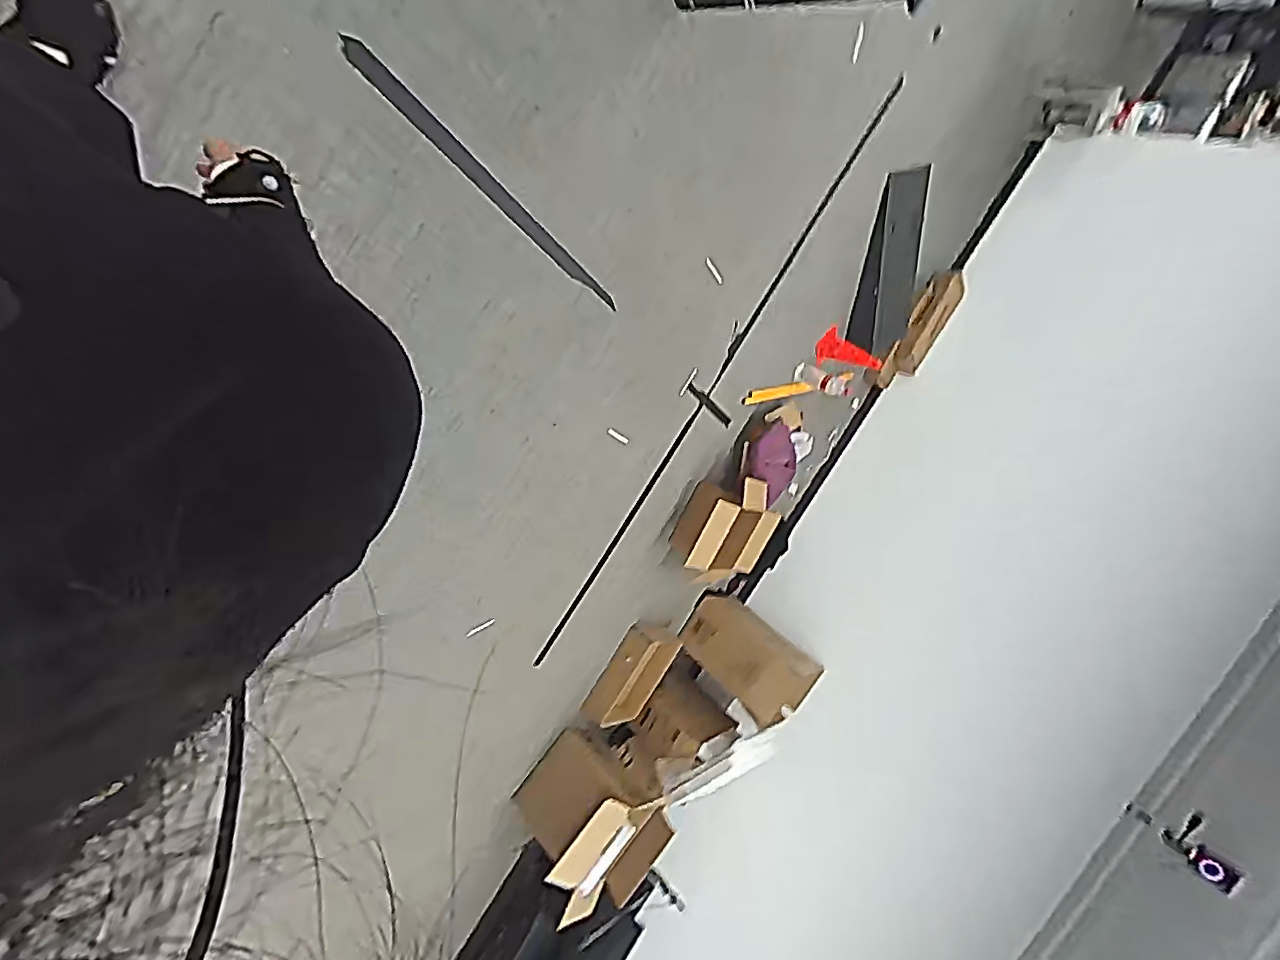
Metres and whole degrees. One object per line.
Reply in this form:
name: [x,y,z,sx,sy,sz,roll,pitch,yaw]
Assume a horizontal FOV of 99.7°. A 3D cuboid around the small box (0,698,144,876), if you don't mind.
small box: [-0.950,0.486,0.871,0.168,0.176,0.179,19,98,-56]
